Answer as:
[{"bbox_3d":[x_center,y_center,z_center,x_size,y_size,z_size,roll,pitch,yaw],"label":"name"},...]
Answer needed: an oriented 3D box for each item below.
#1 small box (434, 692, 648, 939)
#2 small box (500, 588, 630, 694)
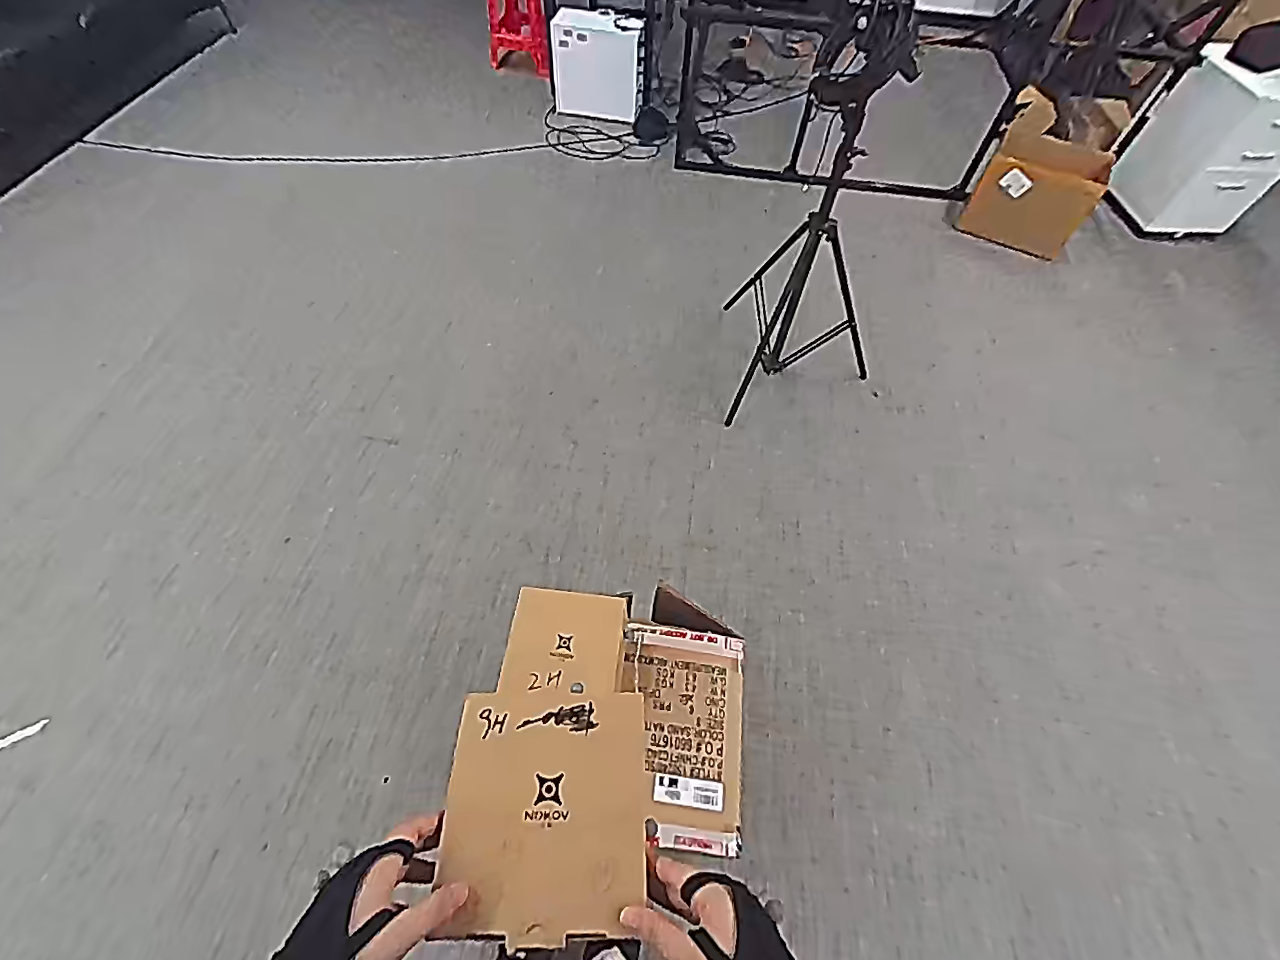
[{"bbox_3d":[-0.075,0.314,0.517,0.168,0.176,0.179,0,54,-1],"label":"small box"},{"bbox_3d":[-0.108,0.290,0.860,0.168,0.176,0.179,5,59,4],"label":"small box"}]
